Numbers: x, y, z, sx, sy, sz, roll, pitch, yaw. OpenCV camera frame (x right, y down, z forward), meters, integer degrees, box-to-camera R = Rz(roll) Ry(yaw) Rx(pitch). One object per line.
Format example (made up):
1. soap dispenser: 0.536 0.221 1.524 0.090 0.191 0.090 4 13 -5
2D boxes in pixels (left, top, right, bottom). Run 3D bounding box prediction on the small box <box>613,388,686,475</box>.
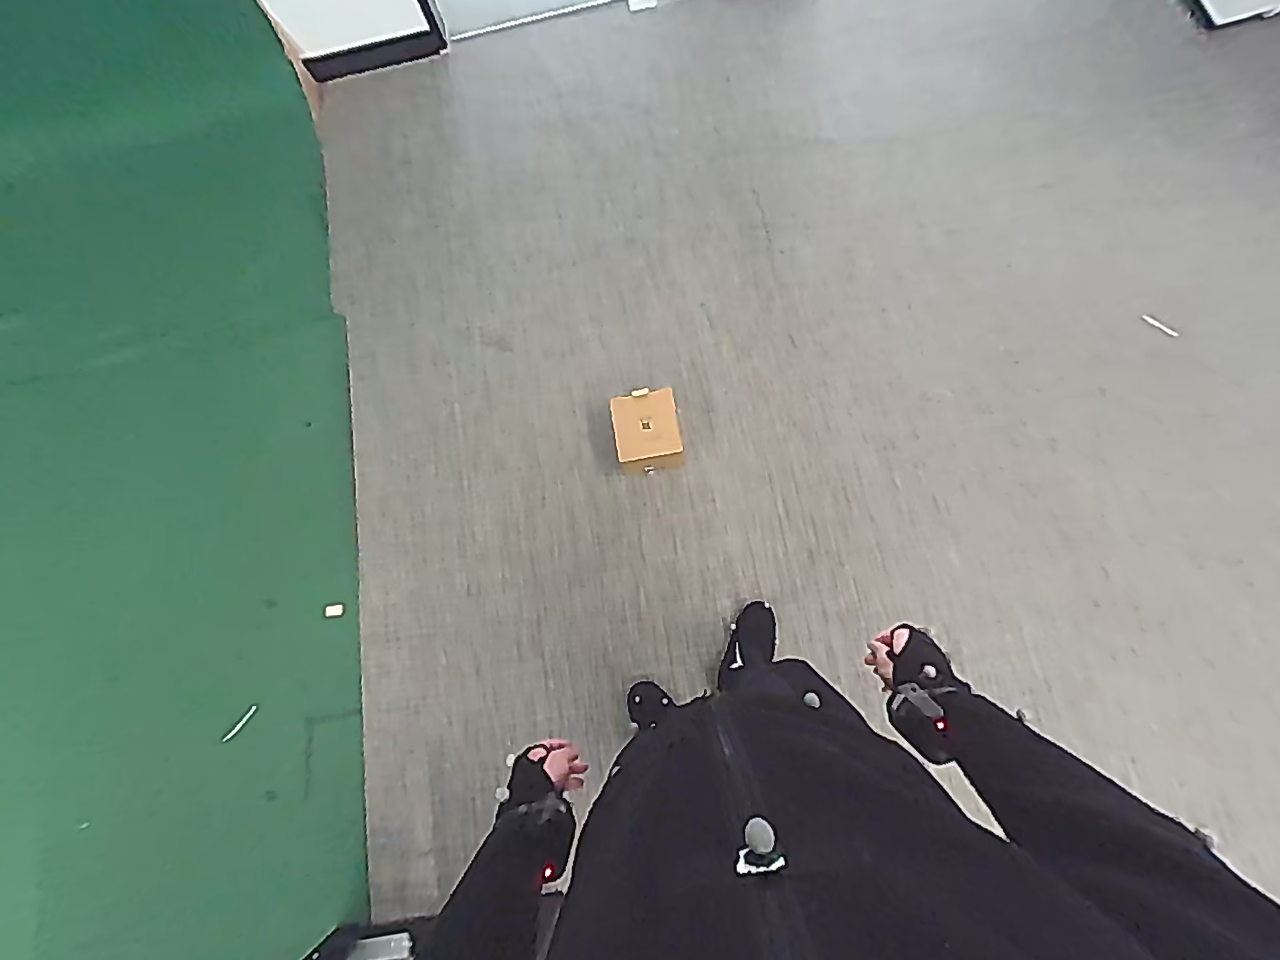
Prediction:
1. small box: 0.028 -0.123 1.430 0.168 0.176 0.179 -8 77 6
